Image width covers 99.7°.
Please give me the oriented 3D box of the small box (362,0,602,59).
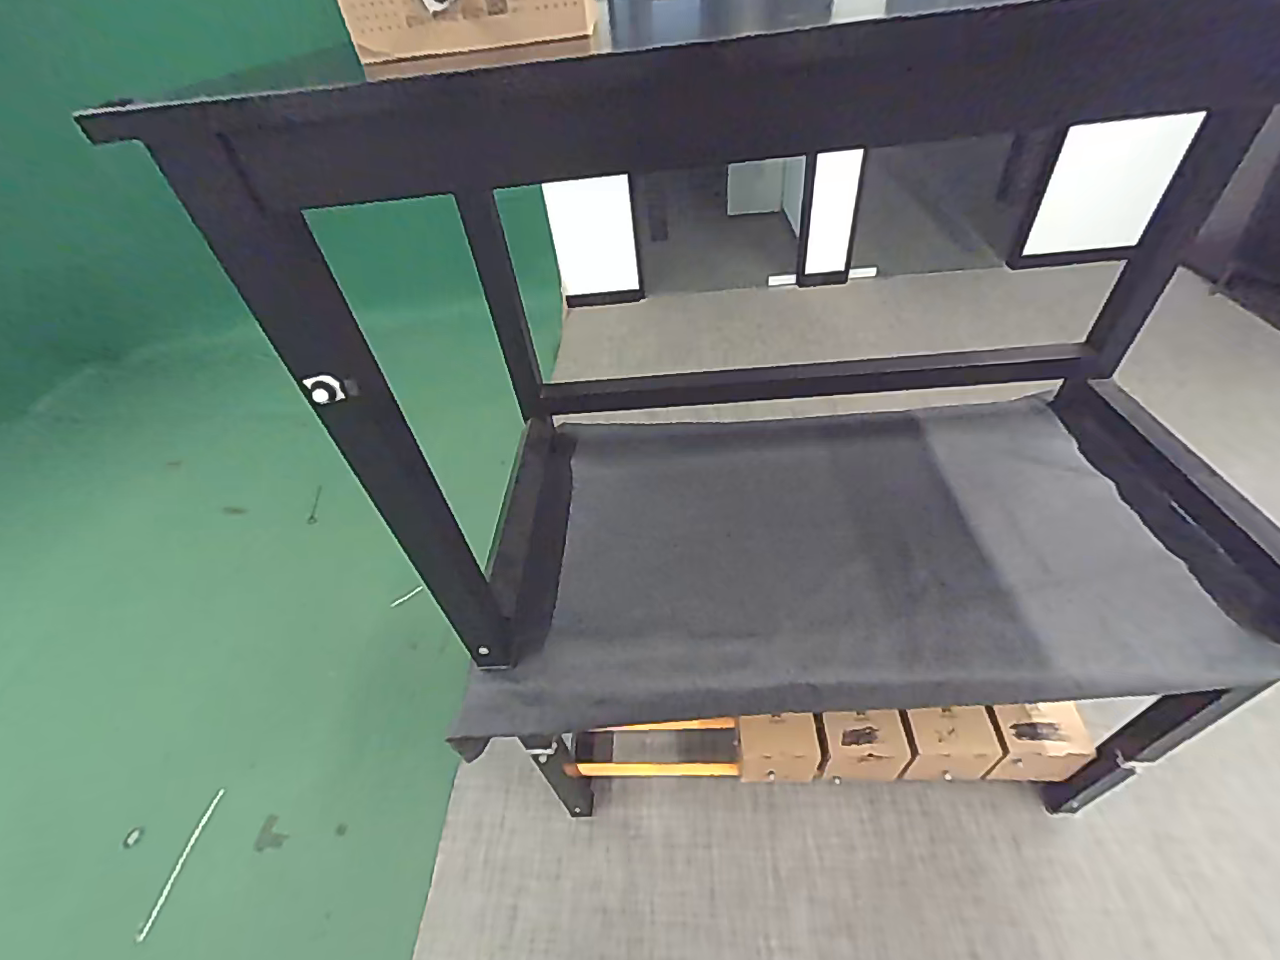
[{"bbox_3d":[-0.122,-0.423,0.390,0.168,0.176,0.179,-6,44,3],"label":"small box"}]
